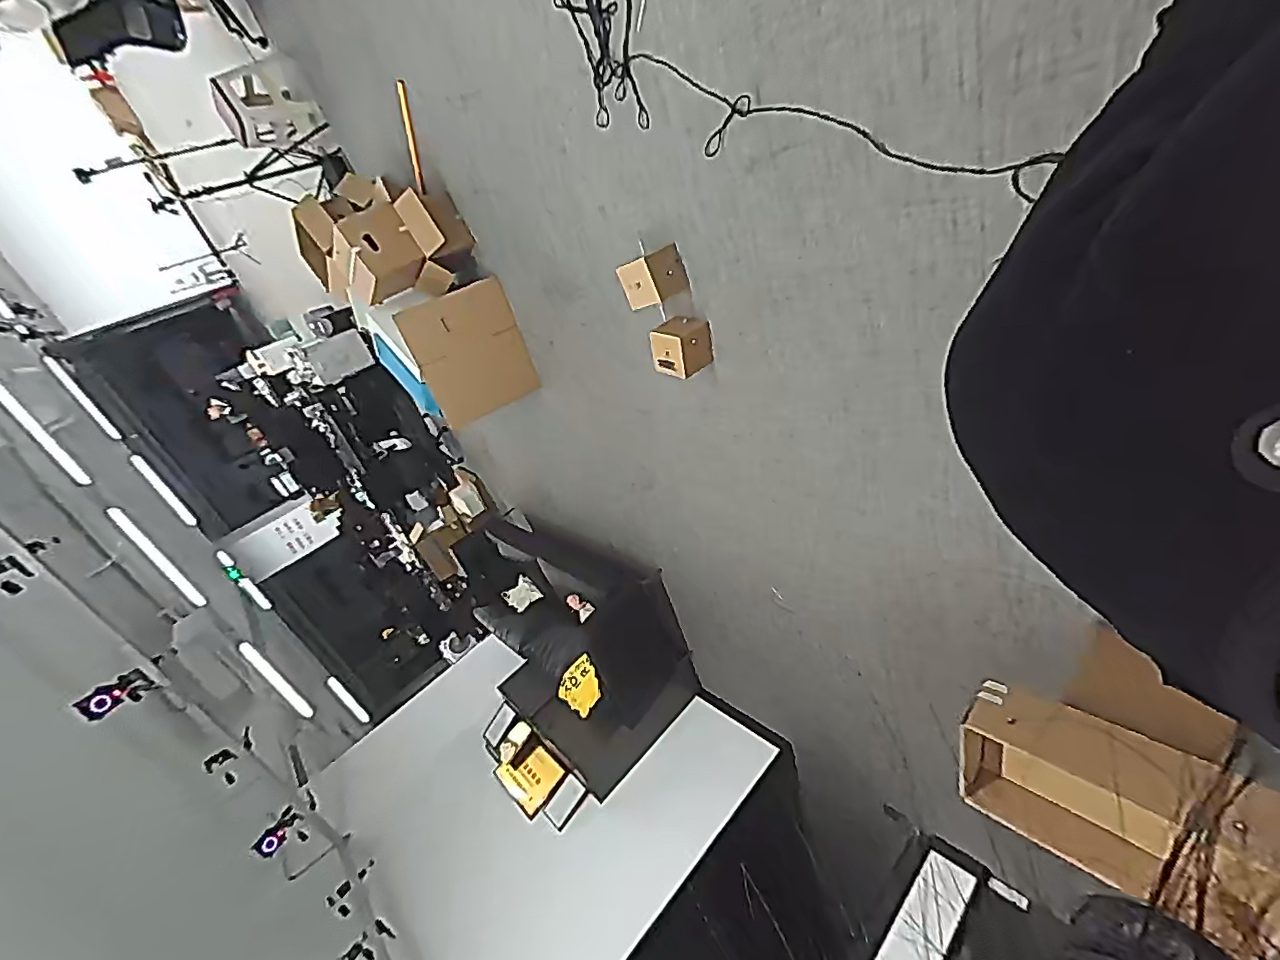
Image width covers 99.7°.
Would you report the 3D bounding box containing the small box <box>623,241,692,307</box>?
[{"bbox_3d":[0.073,-0.773,2.026,0.179,0.176,0.168,8,129,53],"label":"small box"}]
